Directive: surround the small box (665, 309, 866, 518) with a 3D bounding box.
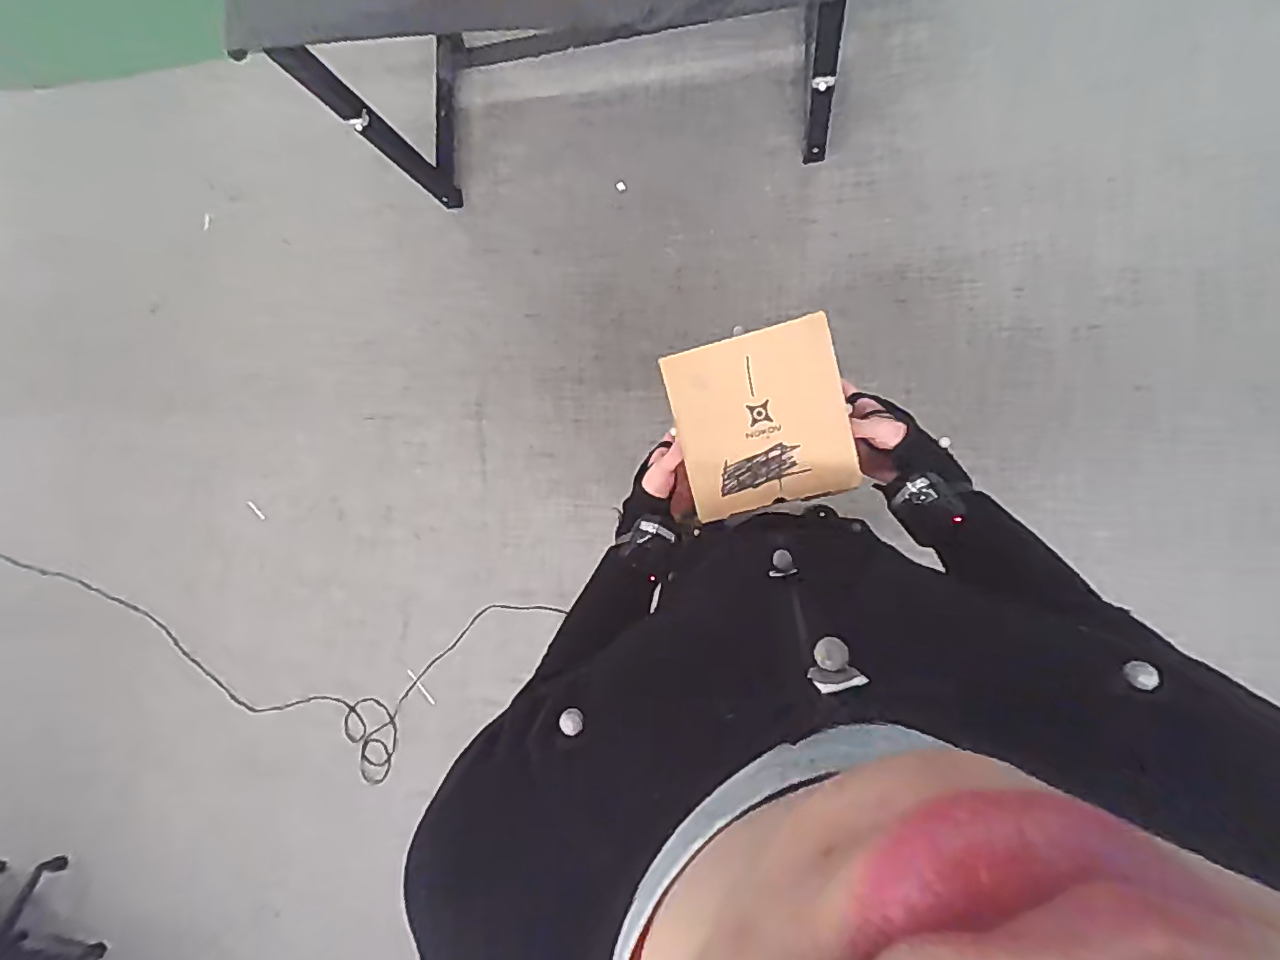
[{"bbox_3d":[0.136,-0.075,0.609,0.168,0.176,0.179,-14,97,11],"label":"small box"}]
